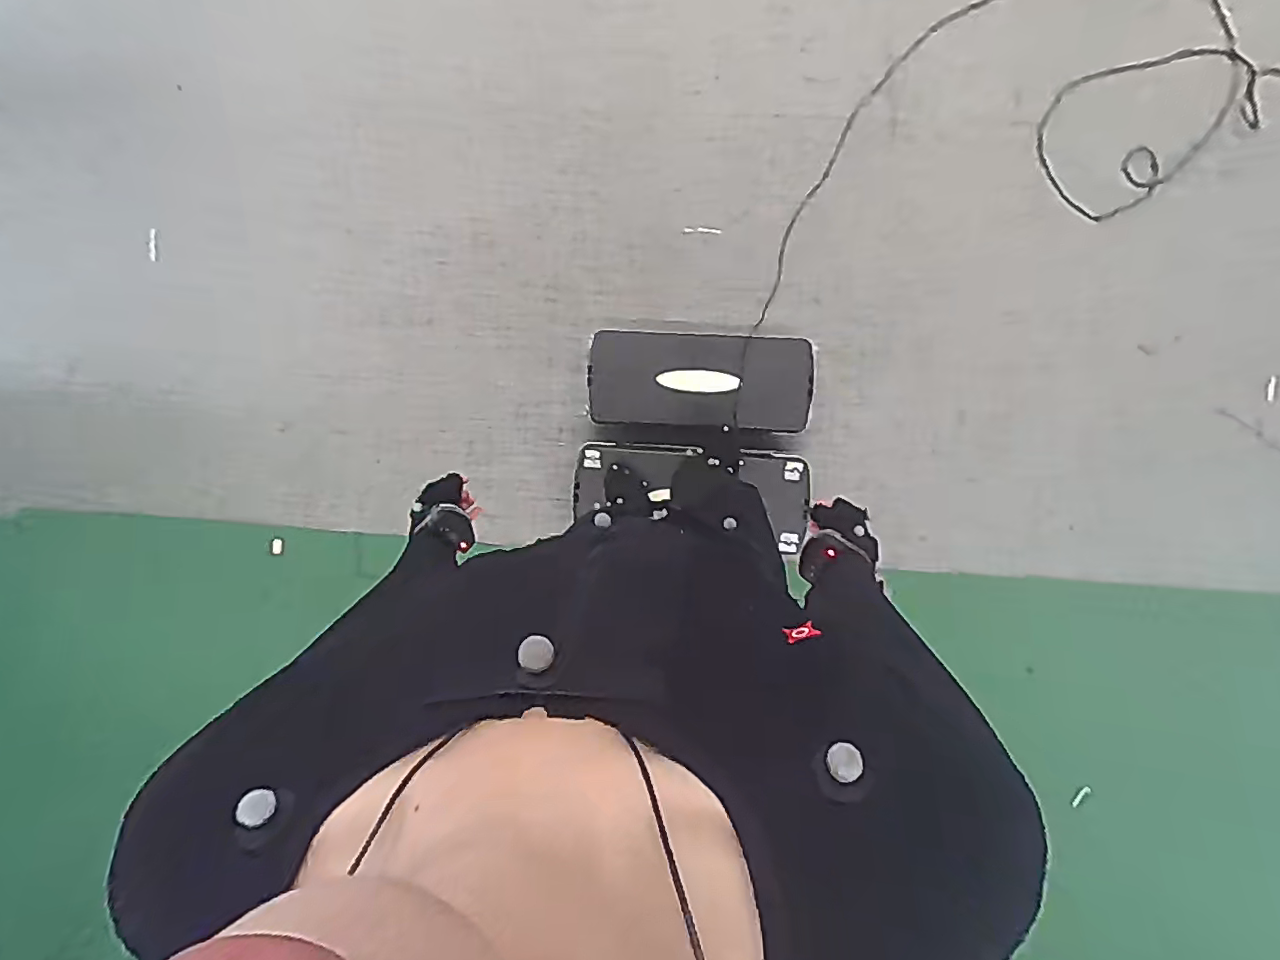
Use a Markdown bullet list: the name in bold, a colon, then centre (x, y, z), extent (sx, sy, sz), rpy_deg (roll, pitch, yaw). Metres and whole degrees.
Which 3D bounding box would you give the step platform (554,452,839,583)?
- **step platform**: centre (0.136, 0.086, 1.390), extent (0.684, 0.204, 0.286), rpy_deg (3, 94, 2)
